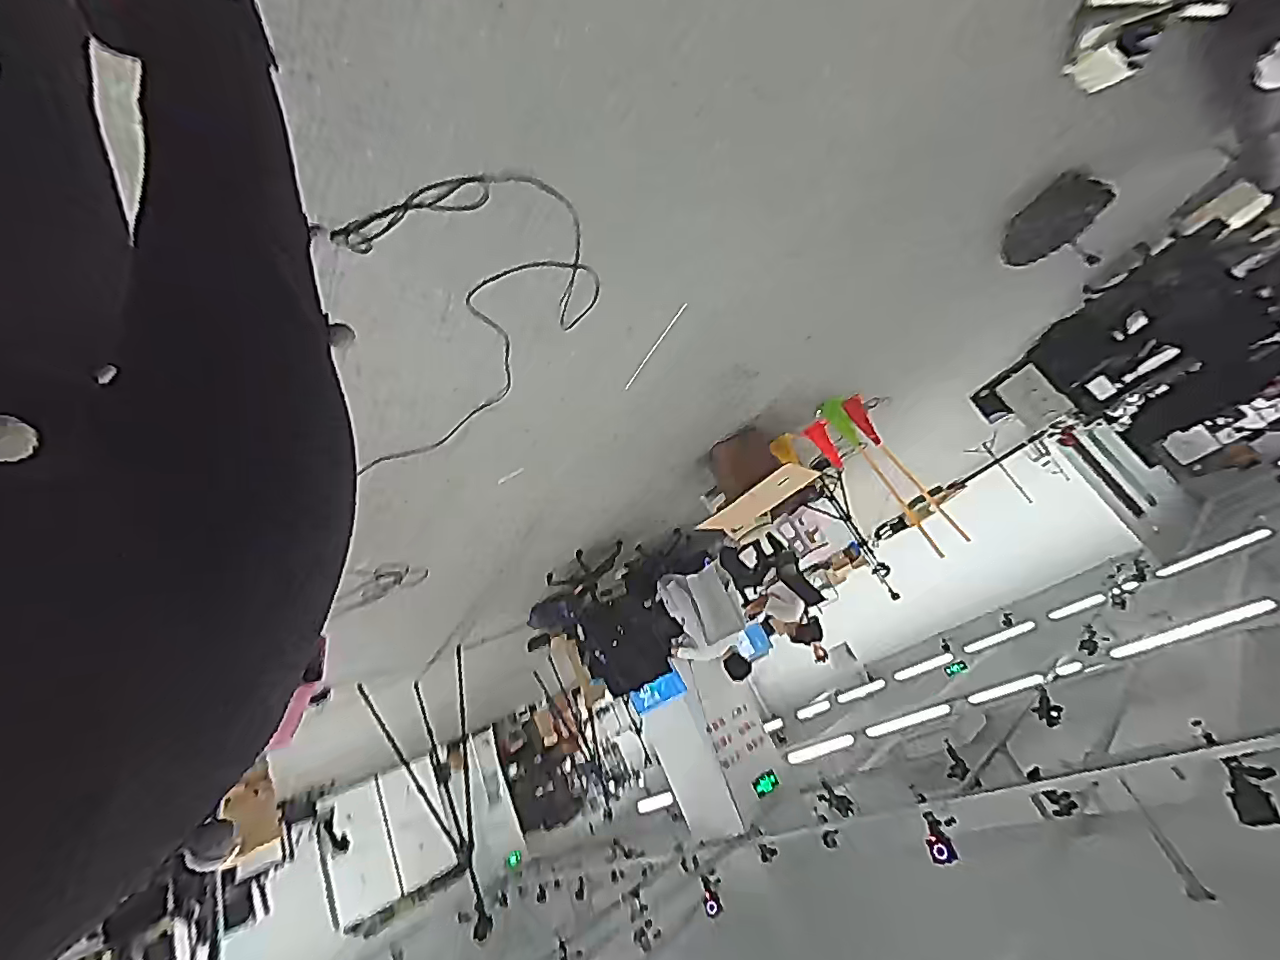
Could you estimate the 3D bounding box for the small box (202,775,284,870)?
[{"bbox_3d":[-1.132,0.965,1.534,0.168,0.176,0.179,-3,148,-42],"label":"small box"}]
